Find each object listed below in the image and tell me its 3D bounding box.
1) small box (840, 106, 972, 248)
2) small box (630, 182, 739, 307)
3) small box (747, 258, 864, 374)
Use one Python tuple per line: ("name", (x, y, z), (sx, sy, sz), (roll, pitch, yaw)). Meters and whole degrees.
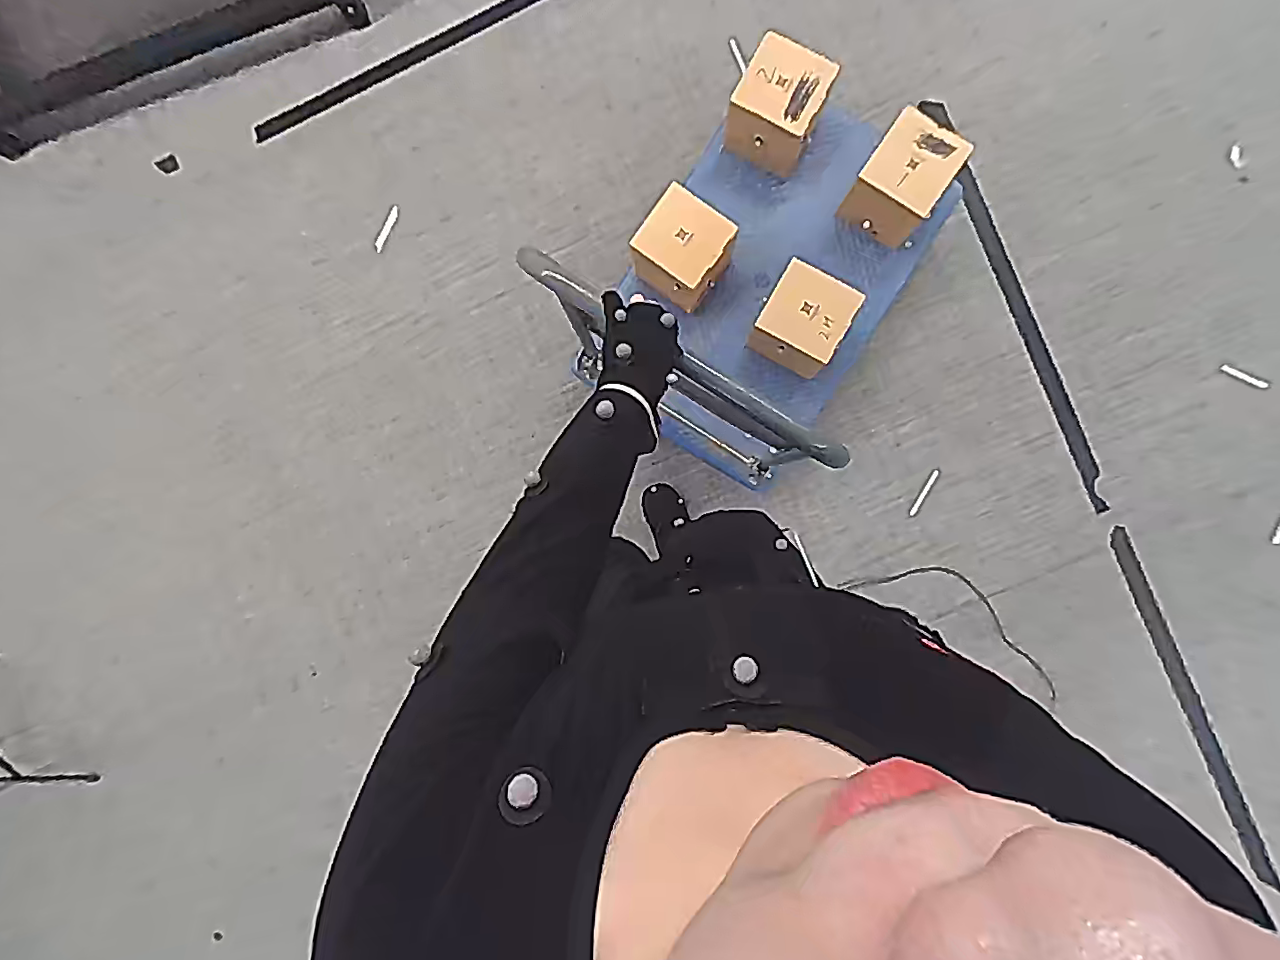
("small box", (0.572, -0.657, 1.193), (0.168, 0.176, 0.179), (35, 94, 3))
("small box", (0.096, -0.521, 1.226), (0.179, 0.176, 0.168), (36, 92, 1))
("small box", (0.358, -0.355, 1.210), (0.179, 0.176, 0.168), (30, 93, 3))
